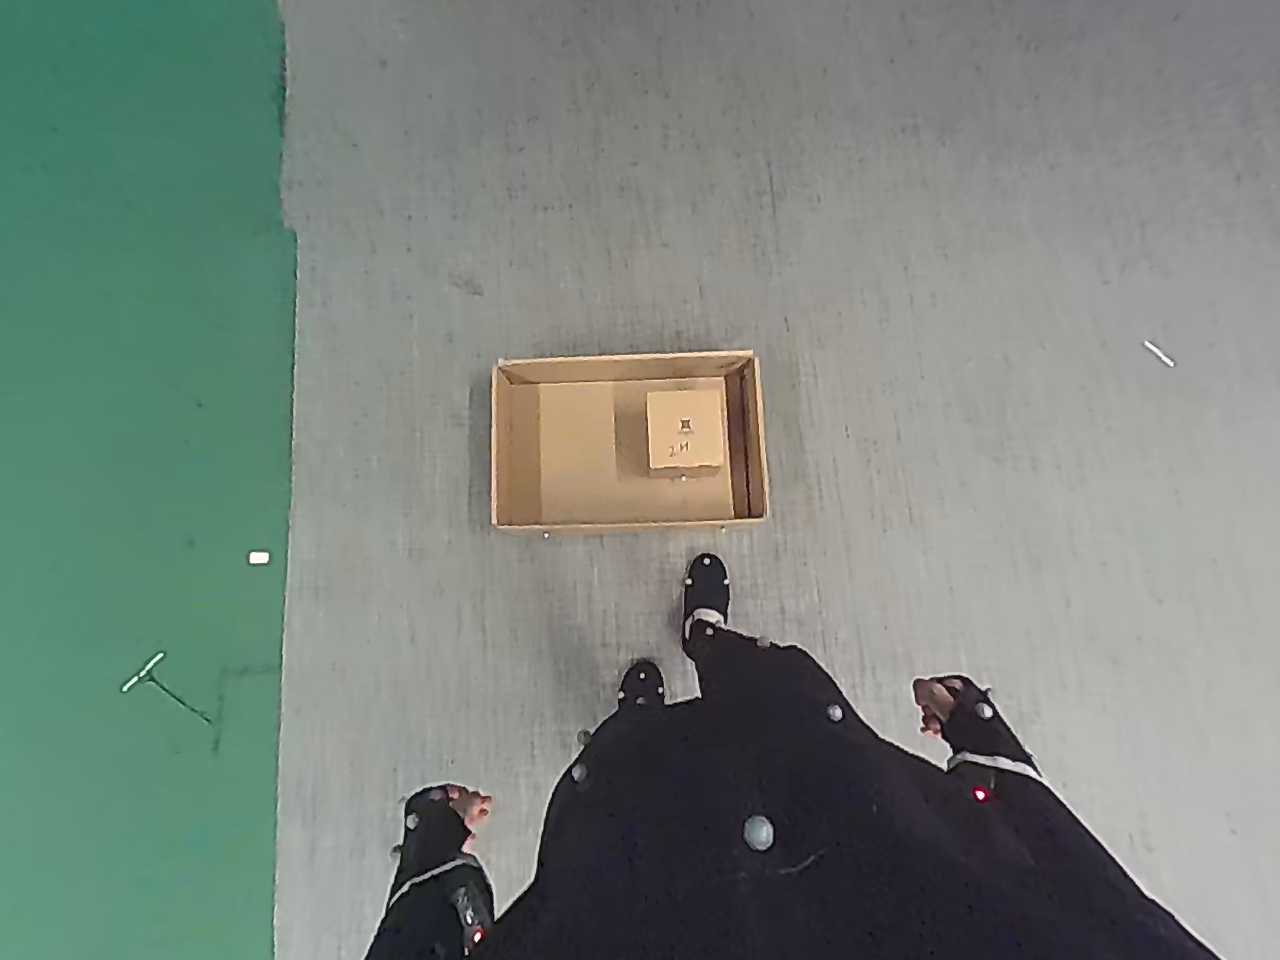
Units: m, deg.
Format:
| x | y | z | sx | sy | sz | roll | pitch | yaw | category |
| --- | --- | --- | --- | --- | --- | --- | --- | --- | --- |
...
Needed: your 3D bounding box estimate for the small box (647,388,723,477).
| x | y | z | sx | sy | sz | roll | pitch | yaw | category |
| --- | --- | --- | --- | --- | --- | --- | --- | --- | --- |
| 0.101 | -0.107 | 1.277 | 0.168 | 0.176 | 0.179 | -2 | 82 | 2 | small box |
